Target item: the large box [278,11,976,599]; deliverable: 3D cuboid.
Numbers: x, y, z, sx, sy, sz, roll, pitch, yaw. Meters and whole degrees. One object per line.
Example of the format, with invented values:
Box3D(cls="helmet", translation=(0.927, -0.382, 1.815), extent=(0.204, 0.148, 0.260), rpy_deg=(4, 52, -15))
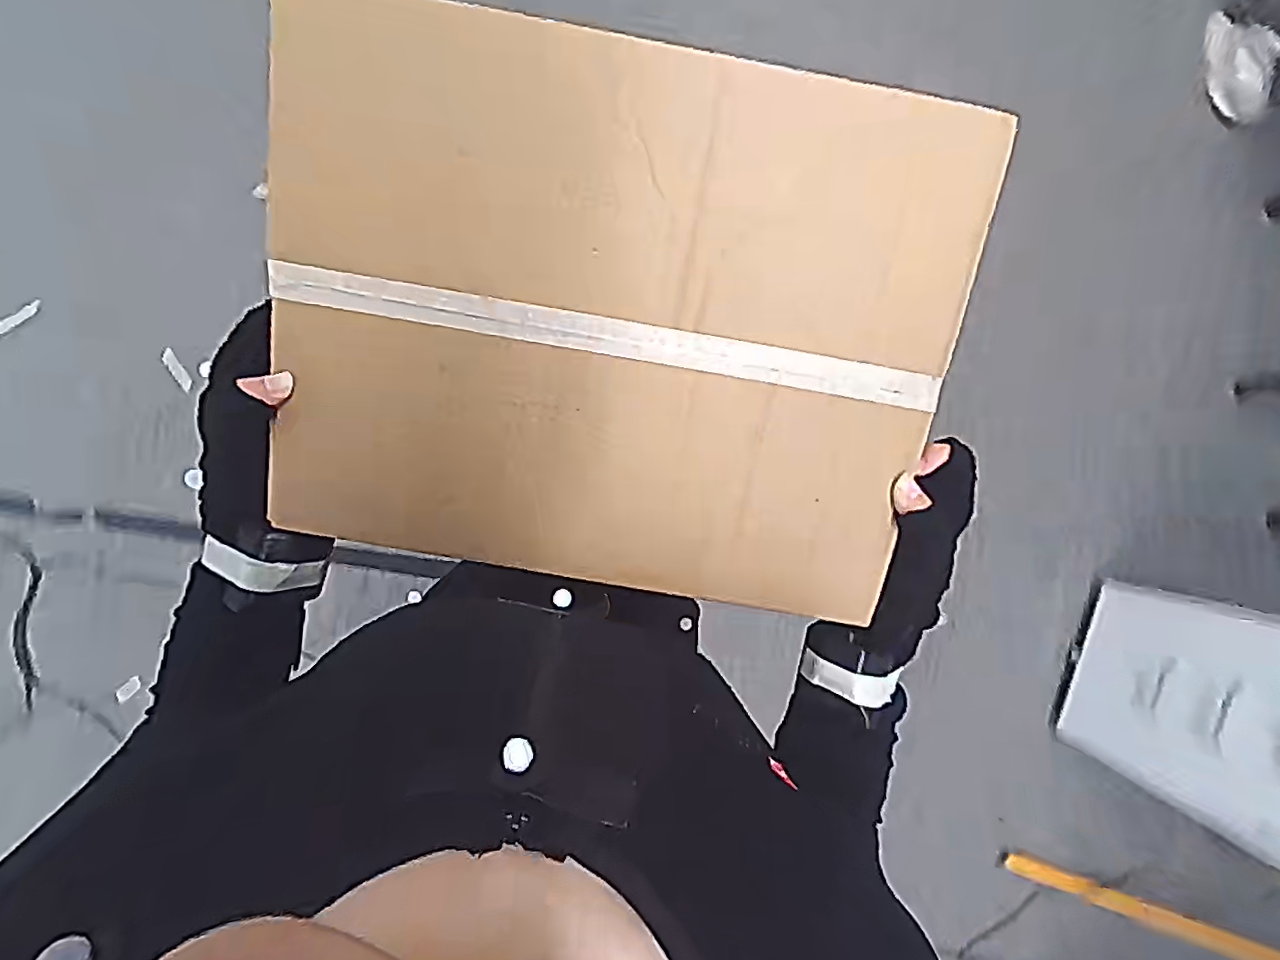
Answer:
Box3D(cls="large box", translation=(-0.024, -0.121, 0.480), extent=(0.408, 0.320, 0.320), rpy_deg=(8, 104, -2))
